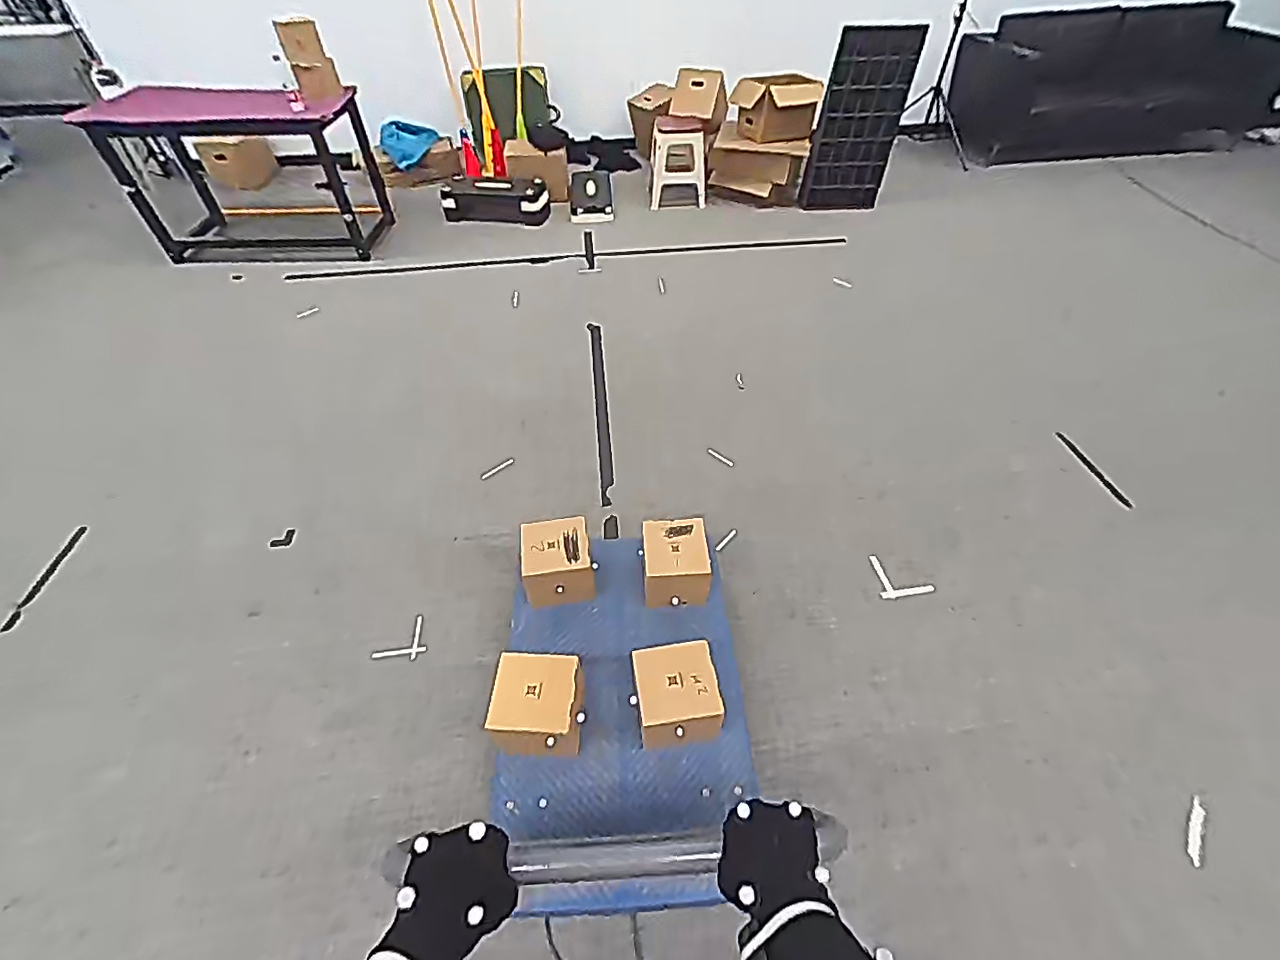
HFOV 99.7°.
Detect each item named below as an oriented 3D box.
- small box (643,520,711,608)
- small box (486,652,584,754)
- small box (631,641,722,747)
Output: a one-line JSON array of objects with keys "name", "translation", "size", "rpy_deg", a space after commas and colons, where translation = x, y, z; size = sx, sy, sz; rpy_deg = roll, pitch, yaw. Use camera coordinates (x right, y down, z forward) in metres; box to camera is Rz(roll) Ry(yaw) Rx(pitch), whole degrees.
[{"name": "small box", "translation": [0.094, 0.229, 1.467], "size": [0.168, 0.176, 0.179], "rpy_deg": [-3, 49, -1]}, {"name": "small box", "translation": [-0.228, 0.507, 1.223], "size": [0.179, 0.176, 0.168], "rpy_deg": [3, 47, 1]}, {"name": "small box", "translation": [0.079, 0.490, 1.231], "size": [0.179, 0.176, 0.168], "rpy_deg": [-7, 48, -5]}]
